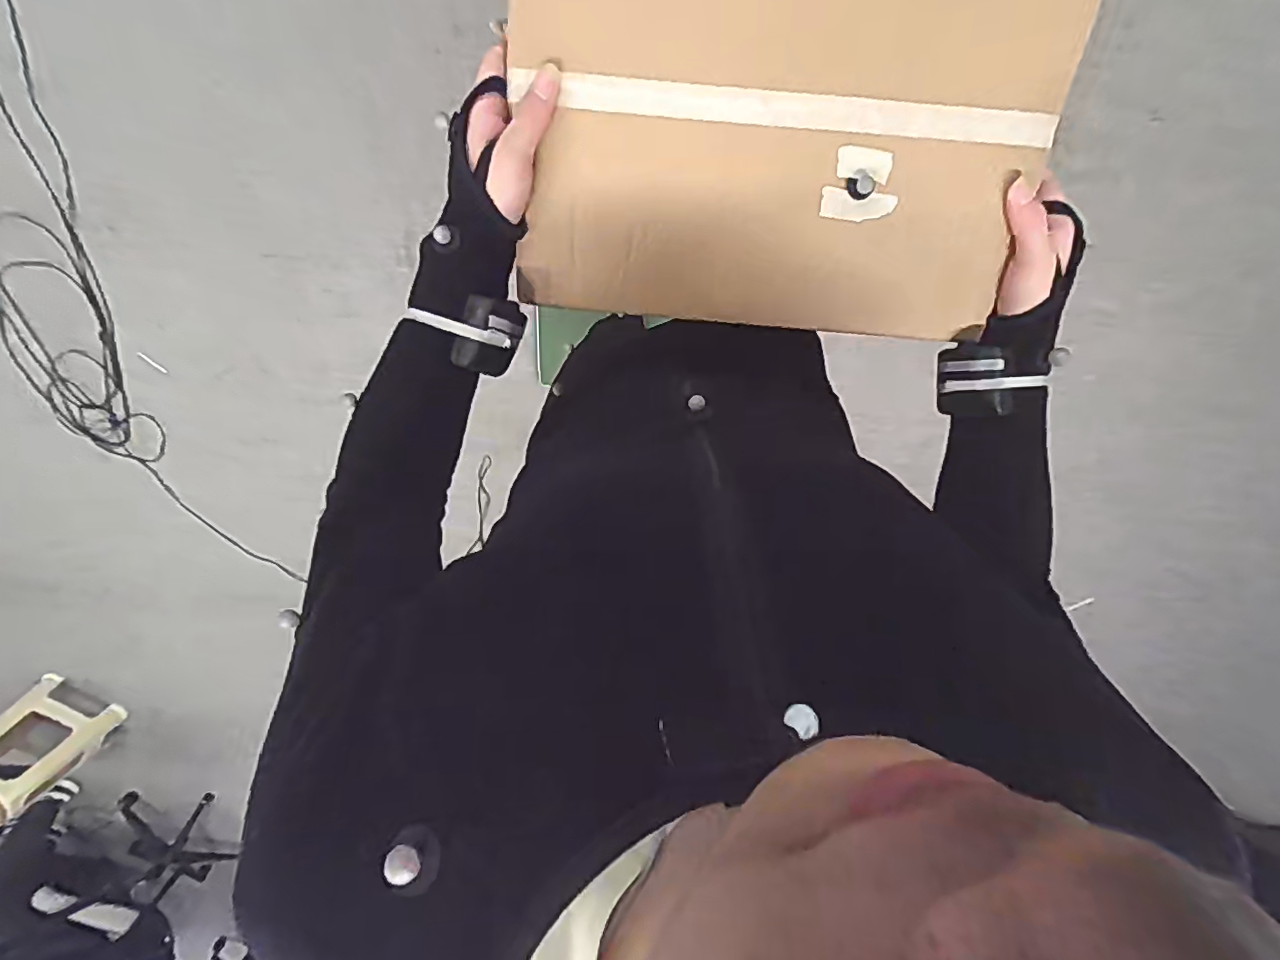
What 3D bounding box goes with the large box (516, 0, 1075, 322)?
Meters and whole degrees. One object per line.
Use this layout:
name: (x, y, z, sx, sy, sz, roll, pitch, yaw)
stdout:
large box: (0.105, -0.351, 0.546, 0.408, 0.320, 0.320, 4, 117, -1)
